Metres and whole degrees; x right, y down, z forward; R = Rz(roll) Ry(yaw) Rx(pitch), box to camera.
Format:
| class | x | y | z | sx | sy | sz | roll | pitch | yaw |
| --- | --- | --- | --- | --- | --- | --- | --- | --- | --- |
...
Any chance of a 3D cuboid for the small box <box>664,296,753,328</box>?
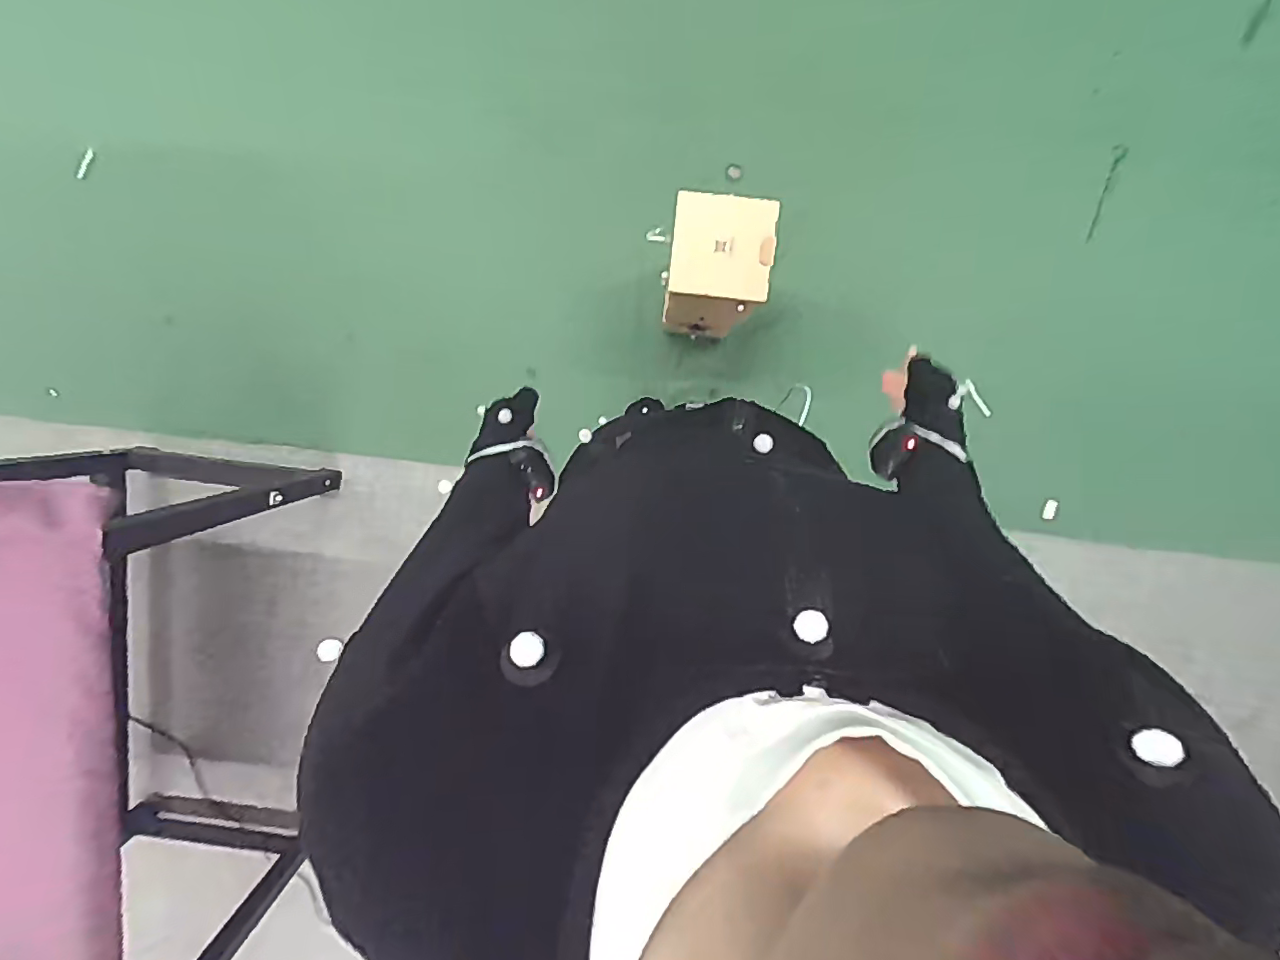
| class | x | y | z | sx | sy | sz | roll | pitch | yaw |
| --- | --- | --- | --- | --- | --- | --- | --- | --- | --- |
| small box | 0.153 | -0.429 | 1.155 | 0.179 | 0.176 | 0.168 | 9 | 97 | -1 |

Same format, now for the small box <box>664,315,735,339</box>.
| class | x | y | z | sx | sy | sz | roll | pitch | yaw |
| --- | --- | --- | --- | --- | --- | --- | --- | --- | --- |
| small box | 0.151 | -0.451 | 1.320 | 0.168 | 0.176 | 0.179 | 7 | 99 | 1 |

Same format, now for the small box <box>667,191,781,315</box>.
| class | x | y | z | sx | sy | sz | roll | pitch | yaw |
| --- | --- | --- | --- | --- | --- | --- | --- | --- | --- |
| small box | 0.145 | -0.407 | 0.996 | 0.179 | 0.176 | 0.168 | 6 | 98 | 0 |
